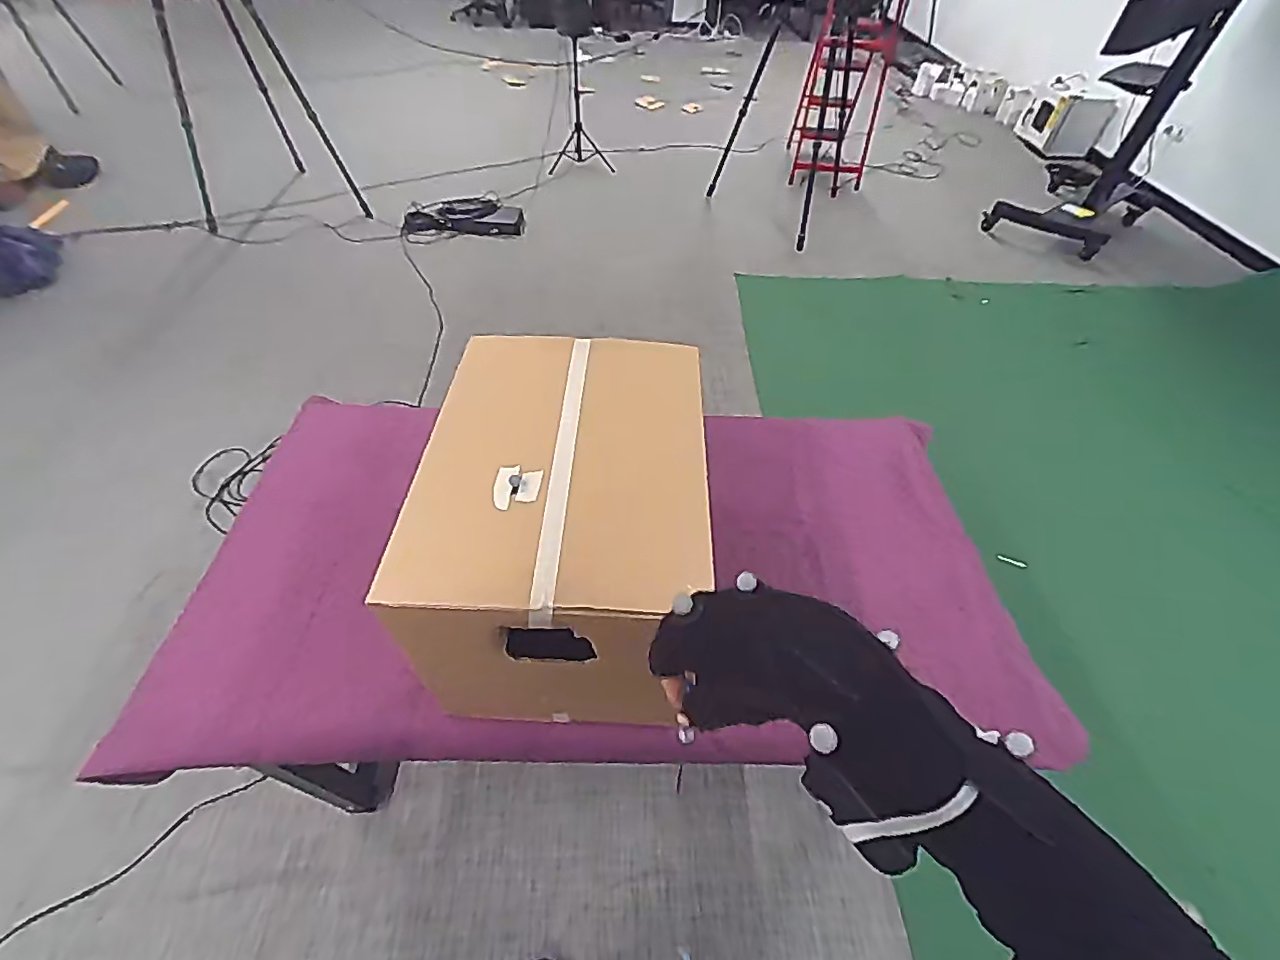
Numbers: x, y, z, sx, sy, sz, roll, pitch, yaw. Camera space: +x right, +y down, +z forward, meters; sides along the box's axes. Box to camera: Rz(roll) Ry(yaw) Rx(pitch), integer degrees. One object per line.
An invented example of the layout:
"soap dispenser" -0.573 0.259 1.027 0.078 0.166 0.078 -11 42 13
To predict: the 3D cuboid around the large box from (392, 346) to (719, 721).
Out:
"large box" -0.082 0.070 0.739 0.320 0.320 0.408 3 50 0
